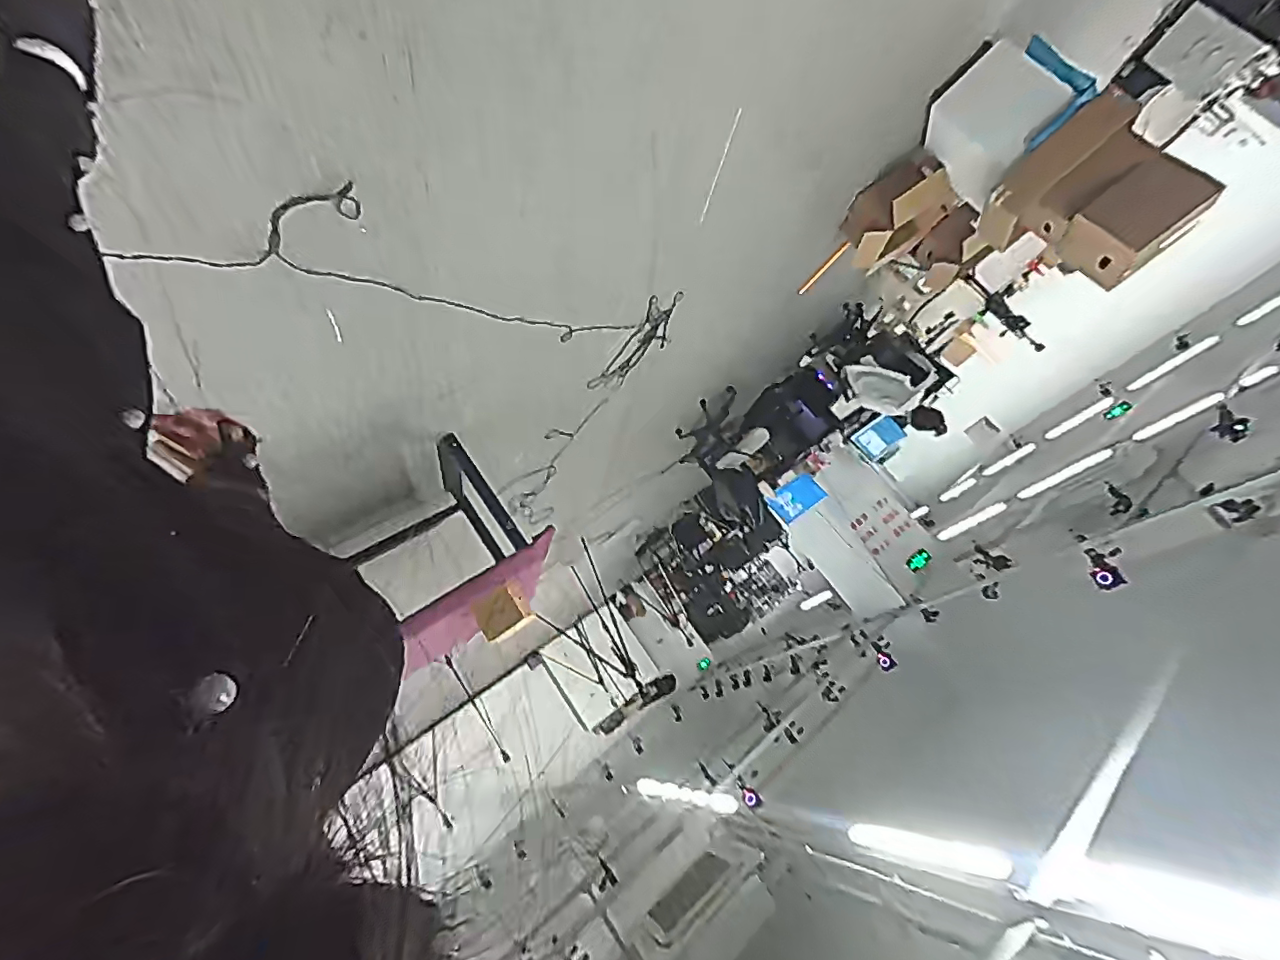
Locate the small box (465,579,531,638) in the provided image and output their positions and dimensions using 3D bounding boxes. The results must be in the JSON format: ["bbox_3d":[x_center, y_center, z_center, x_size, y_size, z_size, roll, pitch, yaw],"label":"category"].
[{"bbox_3d":[-0.585,0.524,2.224,0.179,0.176,0.168,-37,167,-4],"label":"small box"}]
